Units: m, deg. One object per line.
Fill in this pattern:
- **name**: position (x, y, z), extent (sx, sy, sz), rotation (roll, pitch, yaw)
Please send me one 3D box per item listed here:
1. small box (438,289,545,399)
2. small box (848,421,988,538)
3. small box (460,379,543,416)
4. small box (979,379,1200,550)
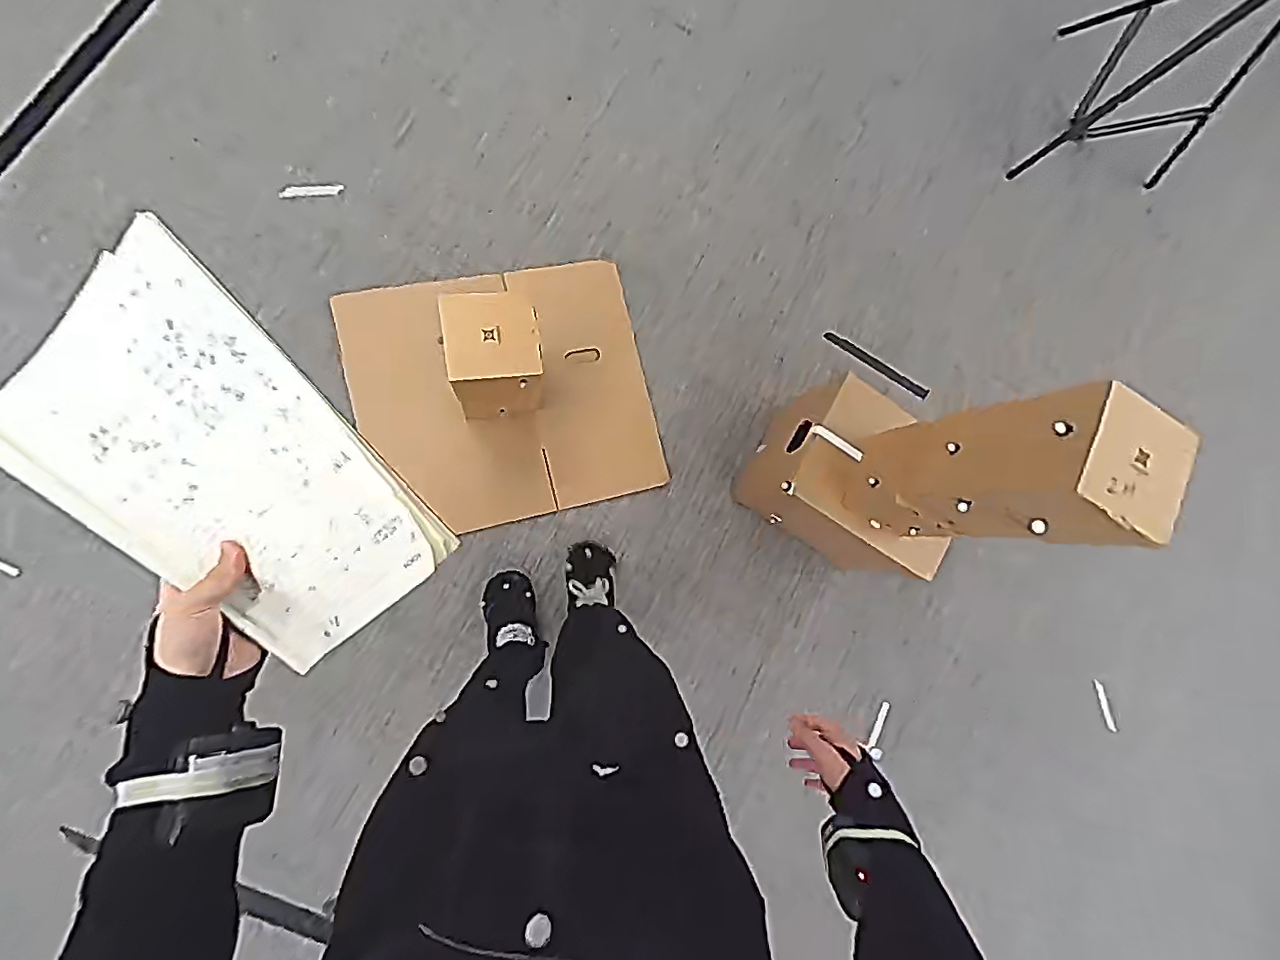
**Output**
- **small box**: position (-0.291, -0.262, 1.072), extent (0.179, 0.176, 0.168), rotation (-8, 87, -16)
- **small box**: position (0.558, 0.005, 1.108), extent (0.168, 0.176, 0.179), rotation (26, 80, -11)
- **small box**: position (-0.327, -0.249, 1.230), extent (0.179, 0.176, 0.168), rotation (-9, 87, -16)
- **small box**: position (0.642, -0.015, 0.790), extent (0.168, 0.176, 0.179), rotation (29, 80, -9)
